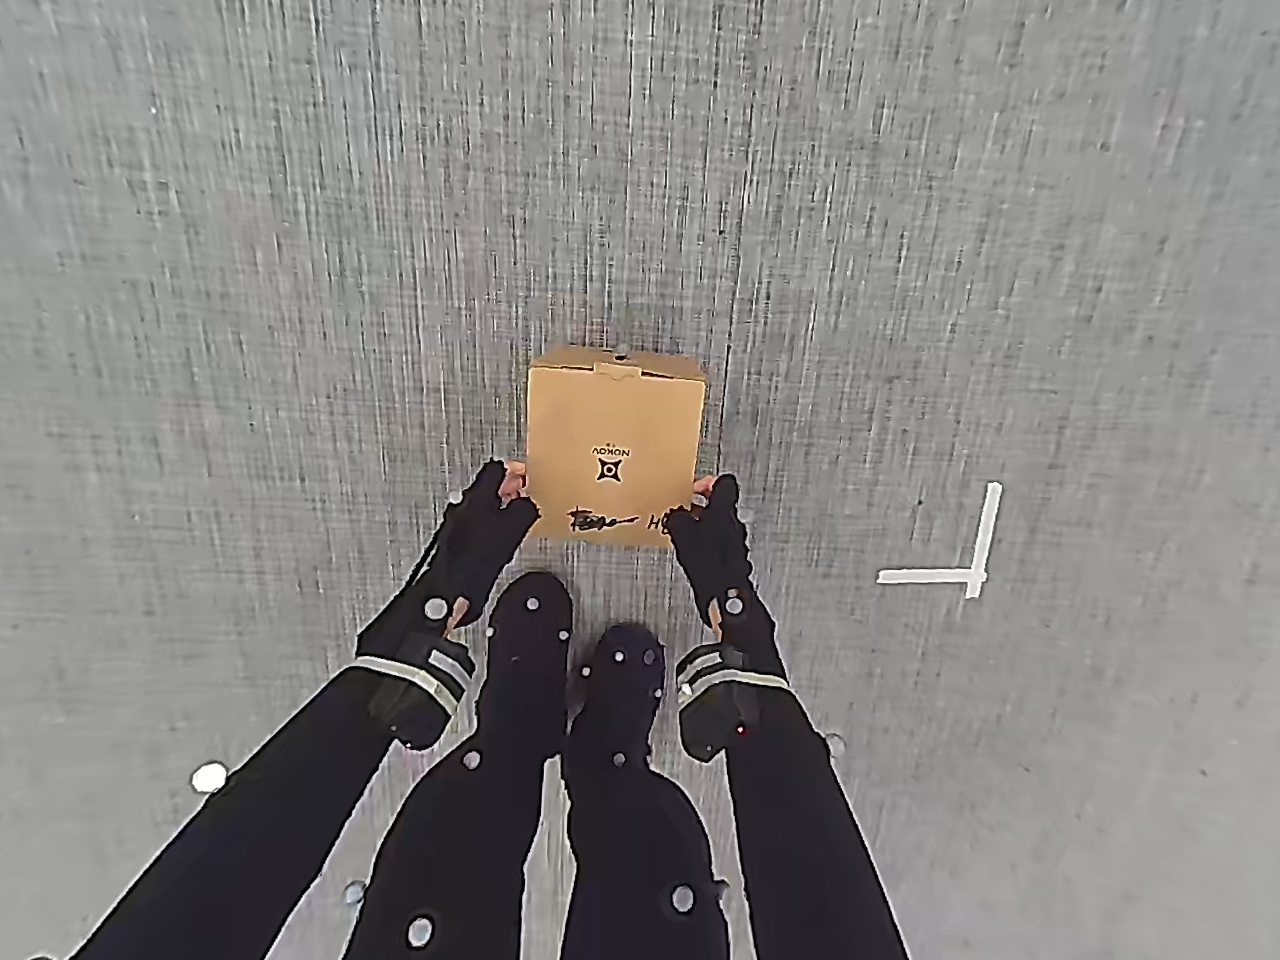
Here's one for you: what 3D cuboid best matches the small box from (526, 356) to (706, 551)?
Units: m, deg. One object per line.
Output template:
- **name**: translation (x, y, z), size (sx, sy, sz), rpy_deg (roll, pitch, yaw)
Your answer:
- **small box**: translation (-0.028, -0.040, 0.606), size (0.168, 0.176, 0.179), rpy_deg (5, 108, -2)
